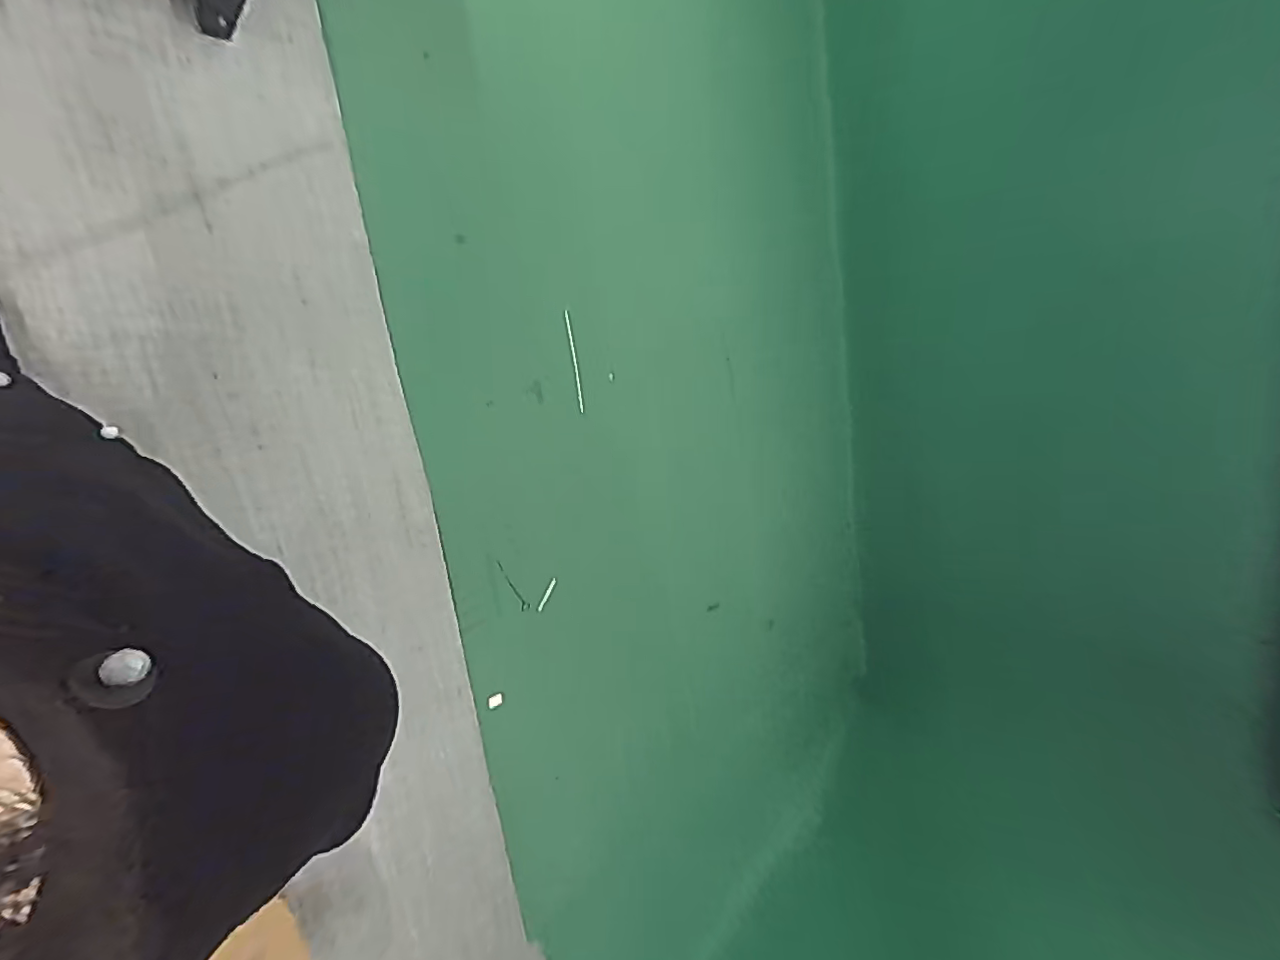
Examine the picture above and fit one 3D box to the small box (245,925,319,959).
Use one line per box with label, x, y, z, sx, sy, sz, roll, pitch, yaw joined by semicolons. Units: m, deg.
small box;-0.744;1.088;1.116;0.168;0.176;0.179;-25;108;-44
